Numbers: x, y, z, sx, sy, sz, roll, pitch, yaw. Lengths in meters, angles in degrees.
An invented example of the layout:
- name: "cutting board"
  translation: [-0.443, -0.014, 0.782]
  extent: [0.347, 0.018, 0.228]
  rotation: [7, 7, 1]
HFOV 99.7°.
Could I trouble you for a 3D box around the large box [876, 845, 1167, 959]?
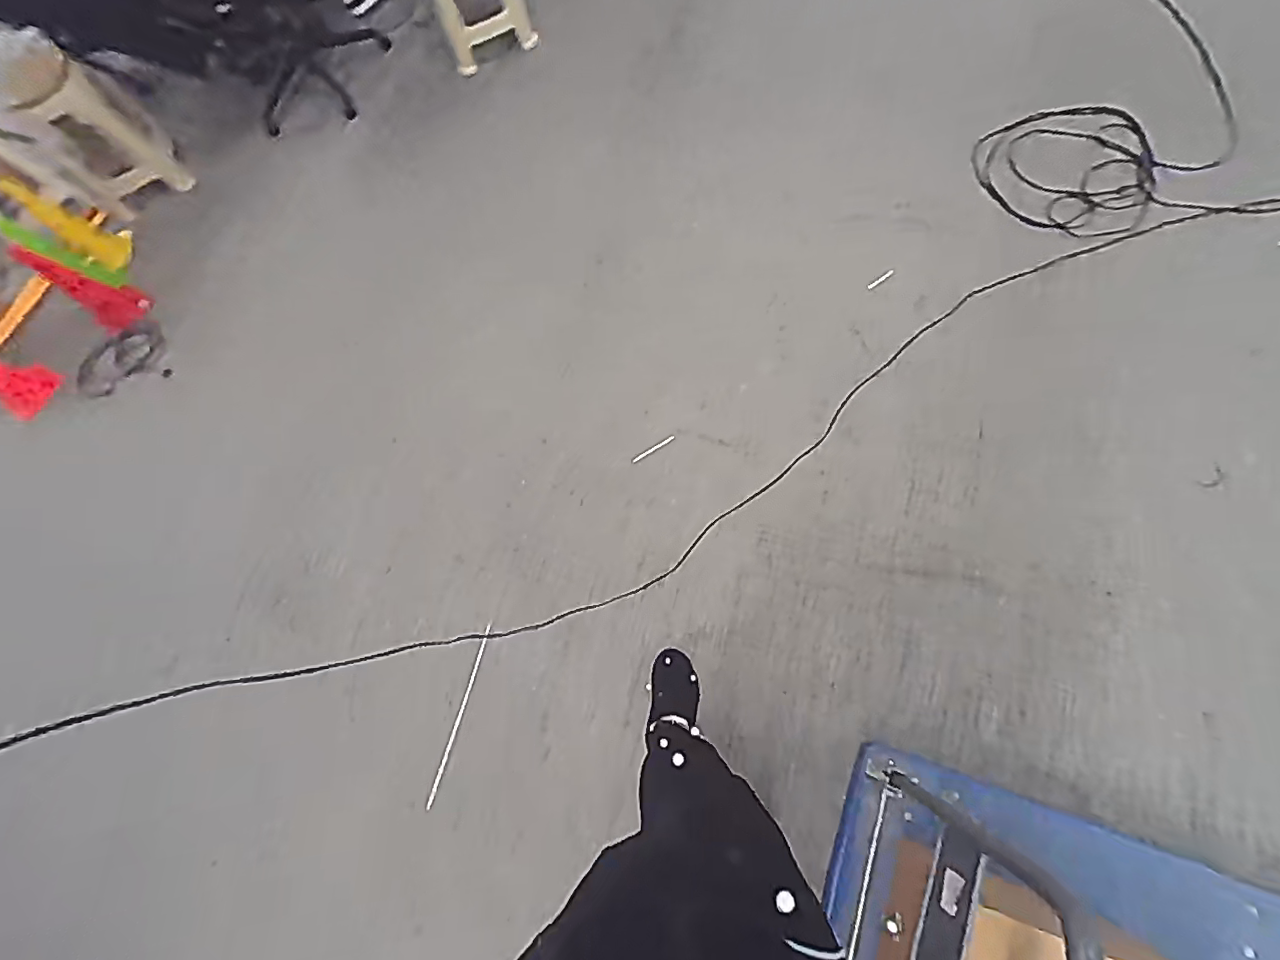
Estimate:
- name: "large box"
  translation: [0.633, 0.866, 0.867]
  extent: [0.408, 0.320, 0.320]
  rotation: [16, 75, 14]
